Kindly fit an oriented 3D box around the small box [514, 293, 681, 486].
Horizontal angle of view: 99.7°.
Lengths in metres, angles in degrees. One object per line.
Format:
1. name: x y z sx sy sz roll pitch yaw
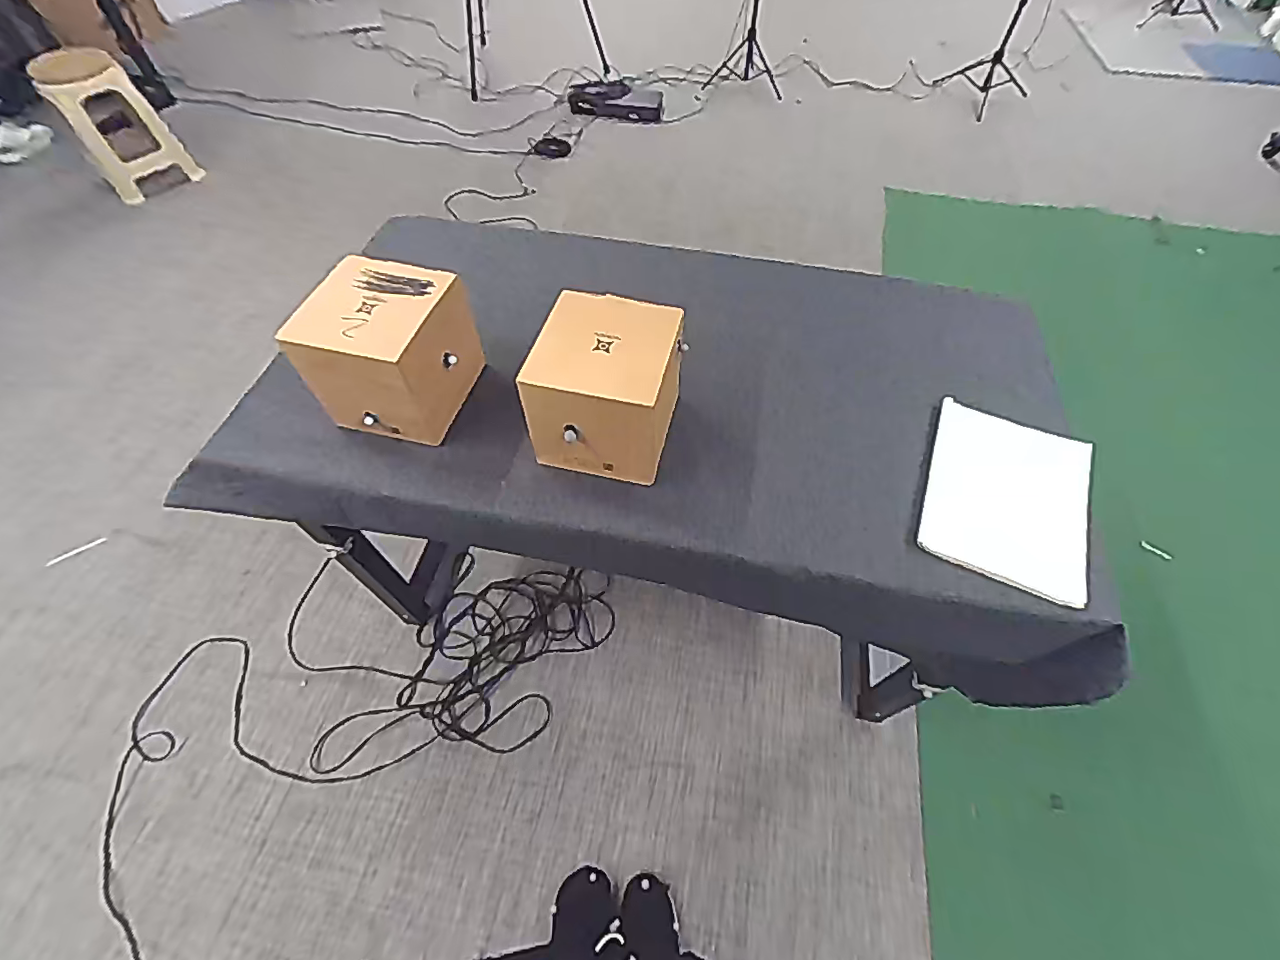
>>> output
1. small box: -0.045 -0.114 0.714 0.168 0.176 0.179 11 56 8
